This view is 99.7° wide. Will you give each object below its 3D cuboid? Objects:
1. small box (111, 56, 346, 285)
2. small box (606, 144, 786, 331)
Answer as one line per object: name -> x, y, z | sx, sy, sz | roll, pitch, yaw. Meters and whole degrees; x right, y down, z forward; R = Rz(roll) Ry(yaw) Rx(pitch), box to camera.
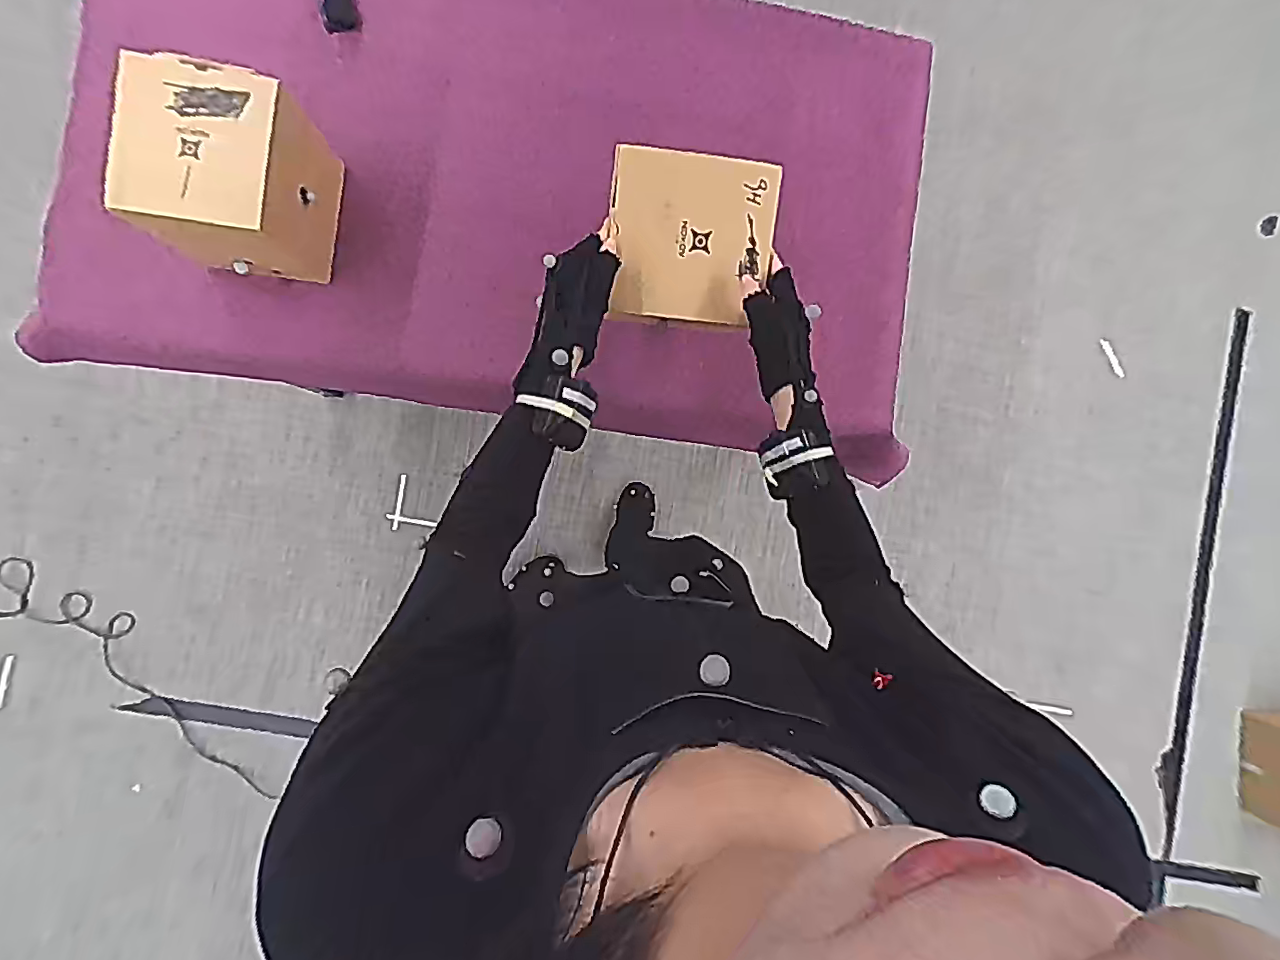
small box -> -0.495, -0.371, 0.680 | 0.168, 0.176, 0.179 | 7, 89, -5
small box -> 0.052, -0.271, 0.645 | 0.179, 0.176, 0.168 | 4, 104, -5
